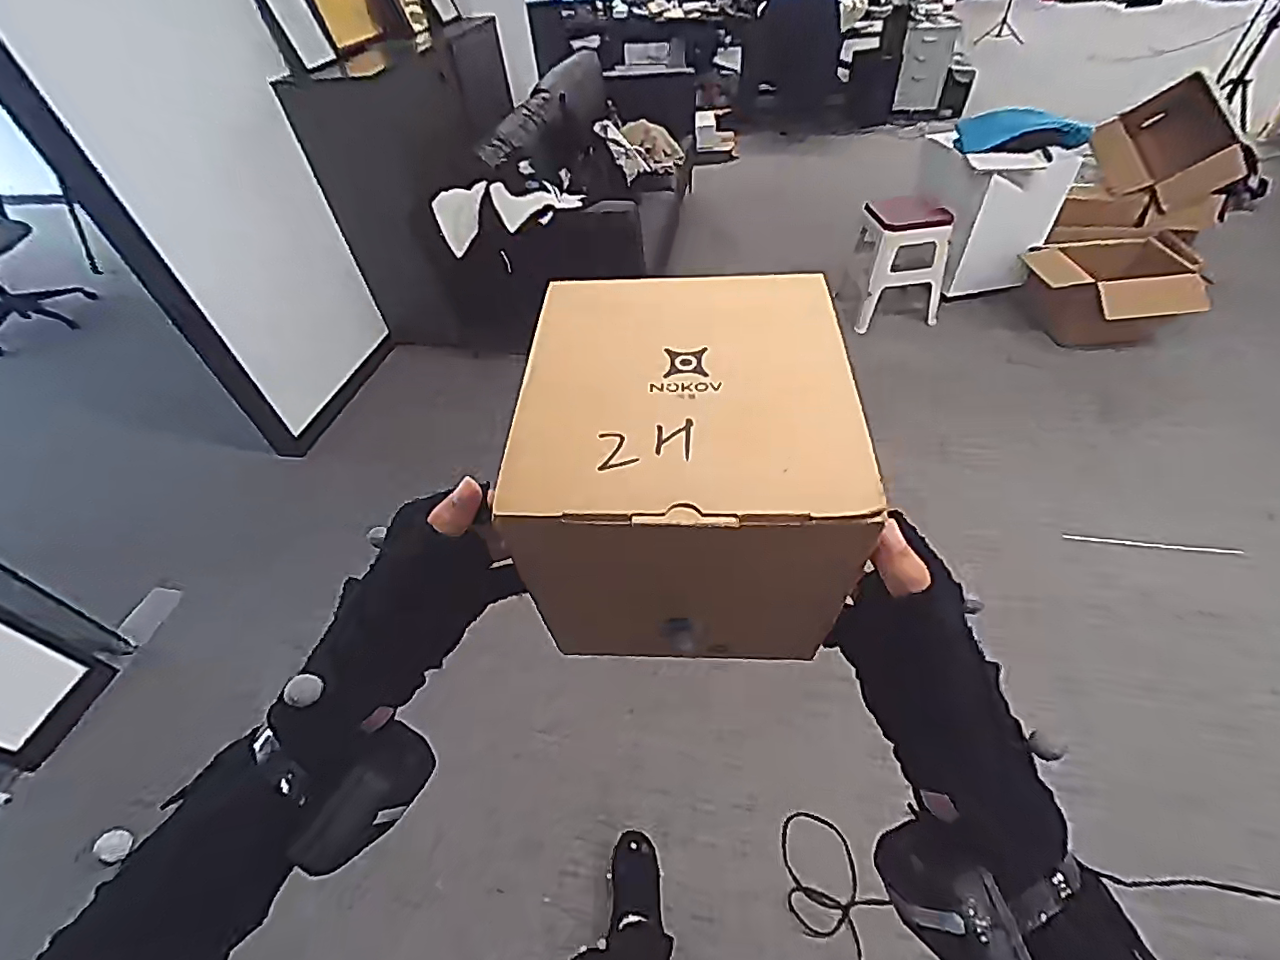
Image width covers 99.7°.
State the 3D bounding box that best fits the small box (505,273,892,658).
[{"bbox_3d":[0.031,-0.005,0.339,0.168,0.176,0.179,0,54,5],"label":"small box"}]
